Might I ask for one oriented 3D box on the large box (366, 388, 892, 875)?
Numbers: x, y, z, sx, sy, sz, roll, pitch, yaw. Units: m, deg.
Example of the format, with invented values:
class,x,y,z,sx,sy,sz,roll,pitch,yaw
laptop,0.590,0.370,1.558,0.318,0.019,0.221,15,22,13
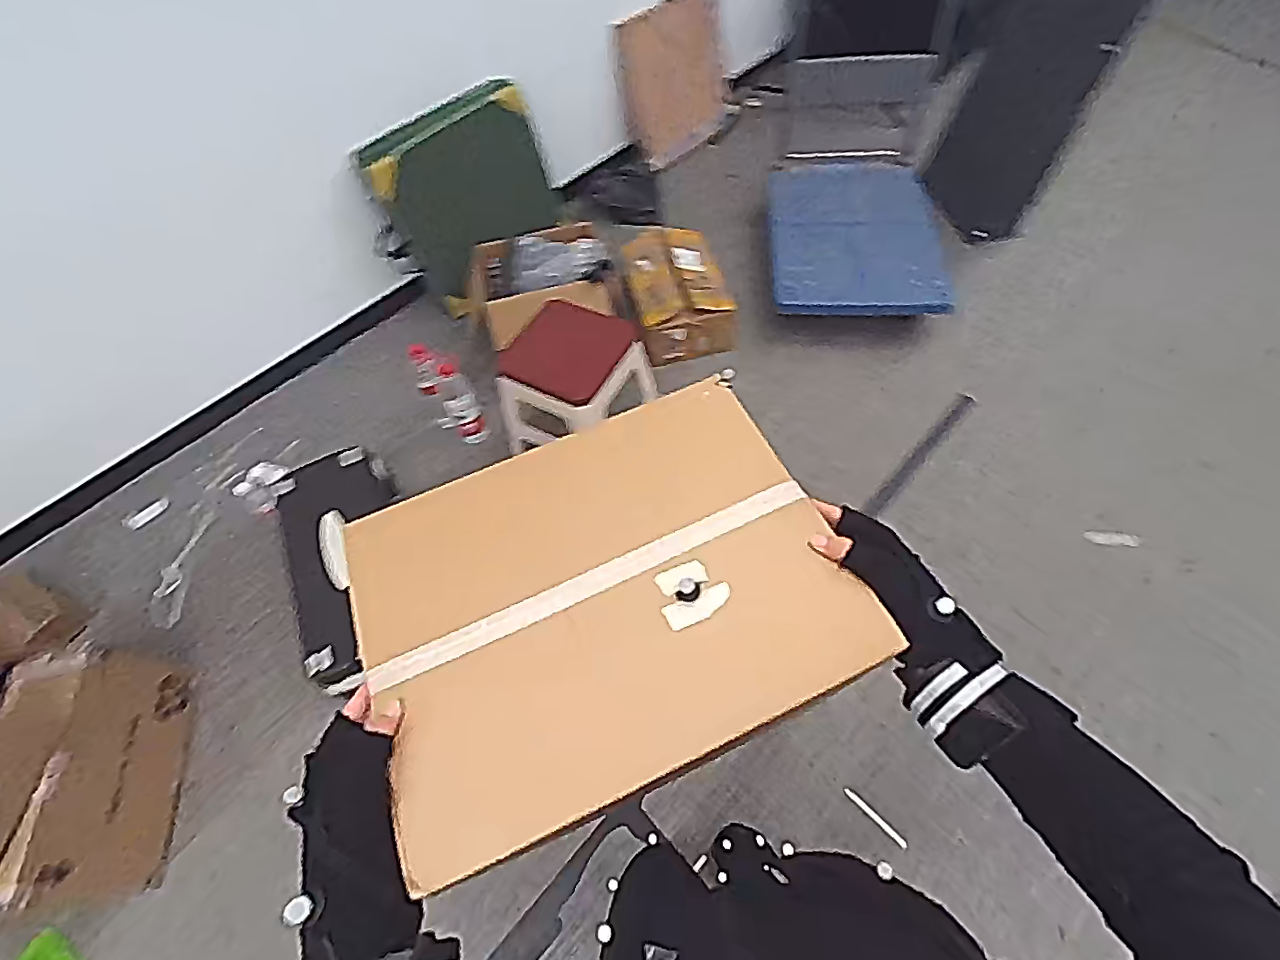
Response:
class,x,y,z,sx,sy,sz,roll,pitch,yaw
large box,-0.020,0.167,0.613,0.408,0.320,0.320,-23,61,-8
